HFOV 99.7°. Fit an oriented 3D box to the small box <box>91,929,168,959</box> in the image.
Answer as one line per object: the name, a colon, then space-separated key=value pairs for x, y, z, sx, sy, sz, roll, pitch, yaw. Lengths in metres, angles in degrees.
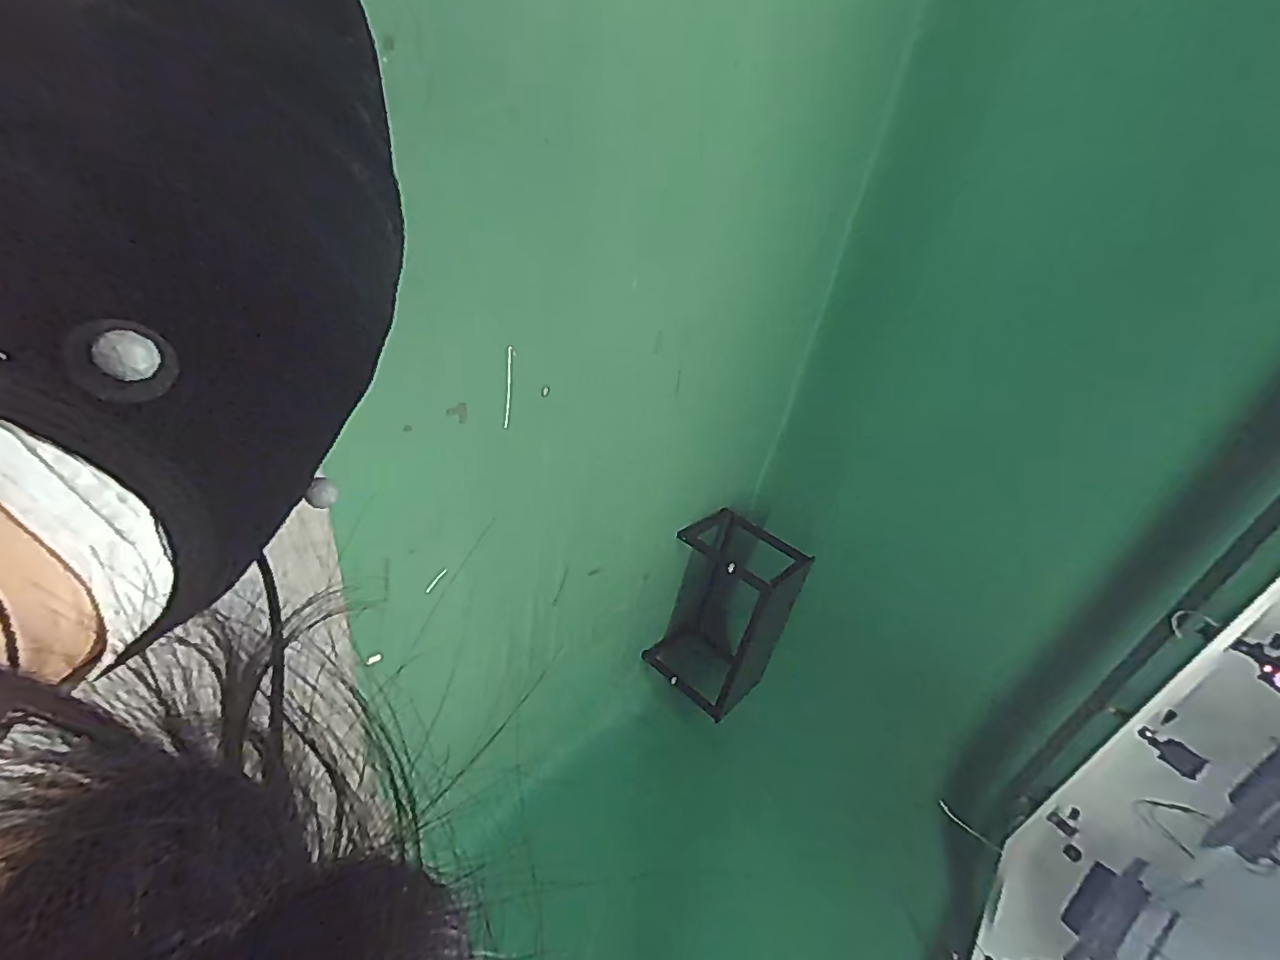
small box: x=-1.240 y=1.234 z=1.290 sx=0.168 sy=0.176 sz=0.179 roll=-28 pitch=138 yaw=-43
